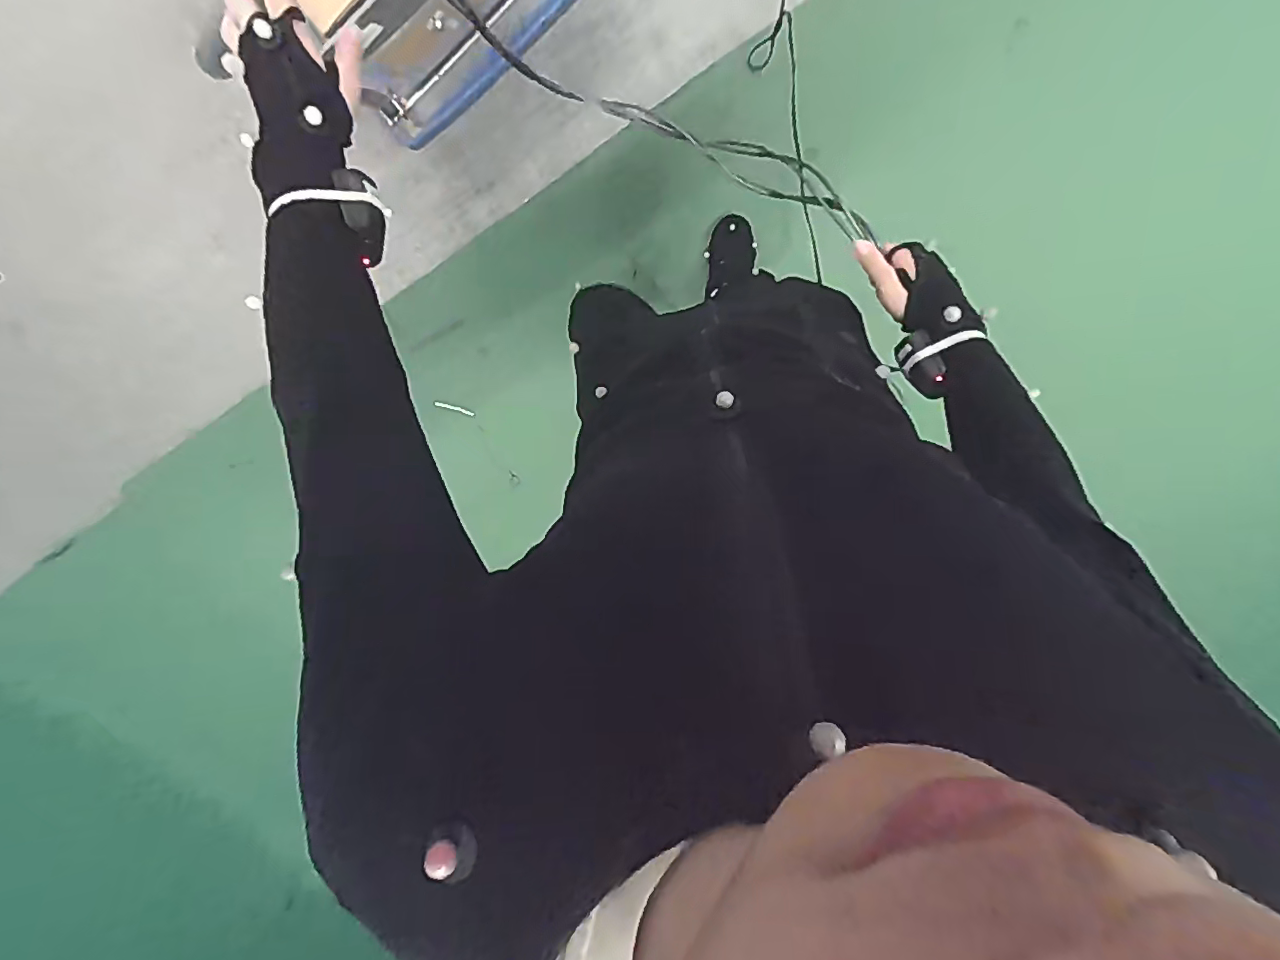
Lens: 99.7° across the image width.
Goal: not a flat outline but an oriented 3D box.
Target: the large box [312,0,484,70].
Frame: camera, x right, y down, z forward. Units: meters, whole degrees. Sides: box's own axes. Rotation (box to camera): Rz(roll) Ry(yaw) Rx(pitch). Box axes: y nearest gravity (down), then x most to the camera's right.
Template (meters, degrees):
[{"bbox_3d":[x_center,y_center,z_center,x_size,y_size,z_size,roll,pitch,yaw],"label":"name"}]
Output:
[{"bbox_3d":[-0.469,-1.006,0.886,0.320,0.320,0.408,-31,111,14],"label":"large box"}]
